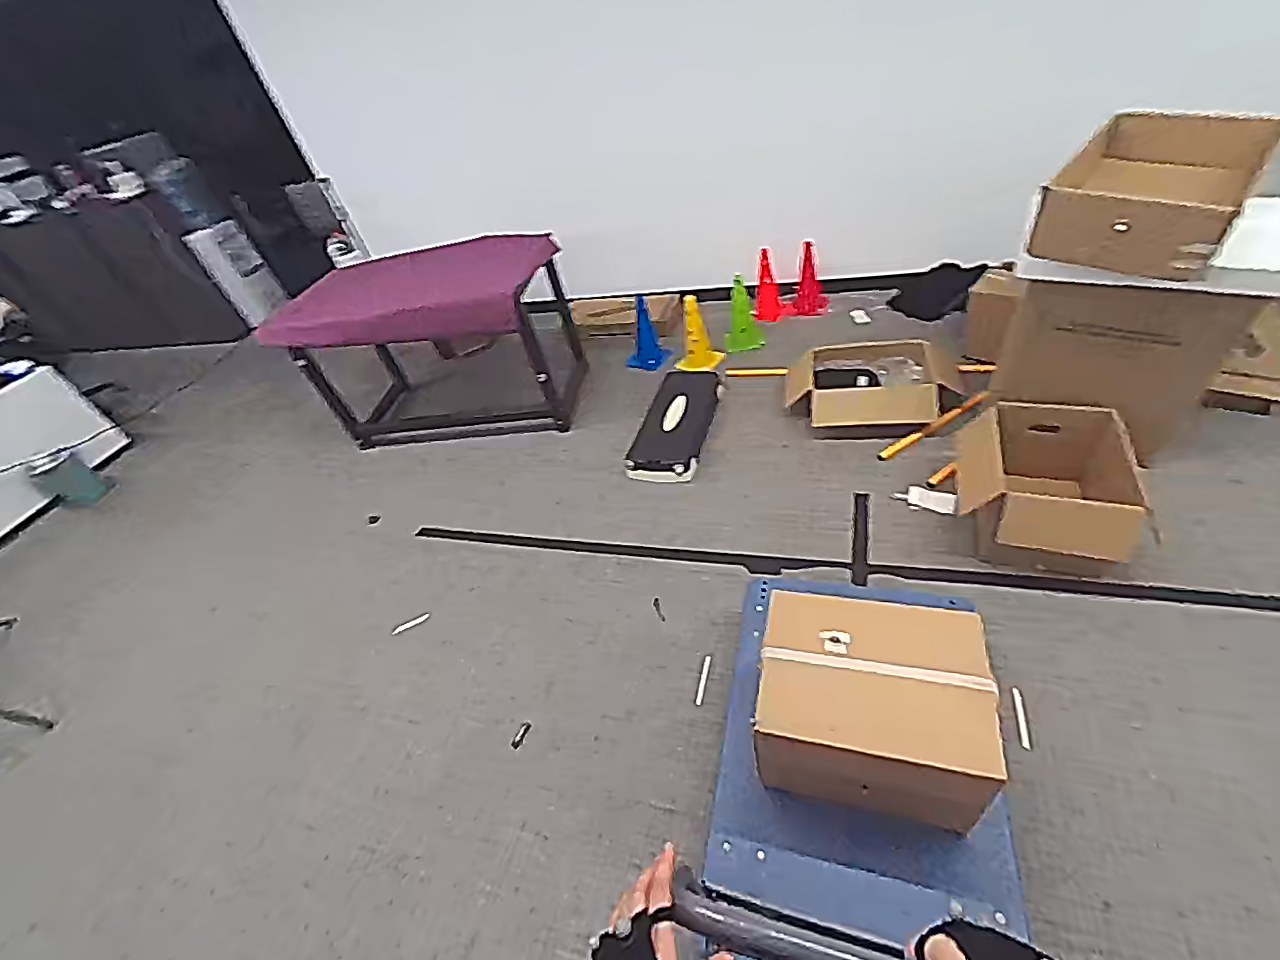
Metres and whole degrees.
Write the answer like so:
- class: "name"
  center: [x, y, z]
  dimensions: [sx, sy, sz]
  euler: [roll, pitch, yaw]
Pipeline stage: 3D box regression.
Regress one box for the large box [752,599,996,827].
- class: "large box"
  center: [0.469, 0.485, 1.148]
  dimensions: [0.408, 0.320, 0.320]
  euler: [2, 44, 20]
